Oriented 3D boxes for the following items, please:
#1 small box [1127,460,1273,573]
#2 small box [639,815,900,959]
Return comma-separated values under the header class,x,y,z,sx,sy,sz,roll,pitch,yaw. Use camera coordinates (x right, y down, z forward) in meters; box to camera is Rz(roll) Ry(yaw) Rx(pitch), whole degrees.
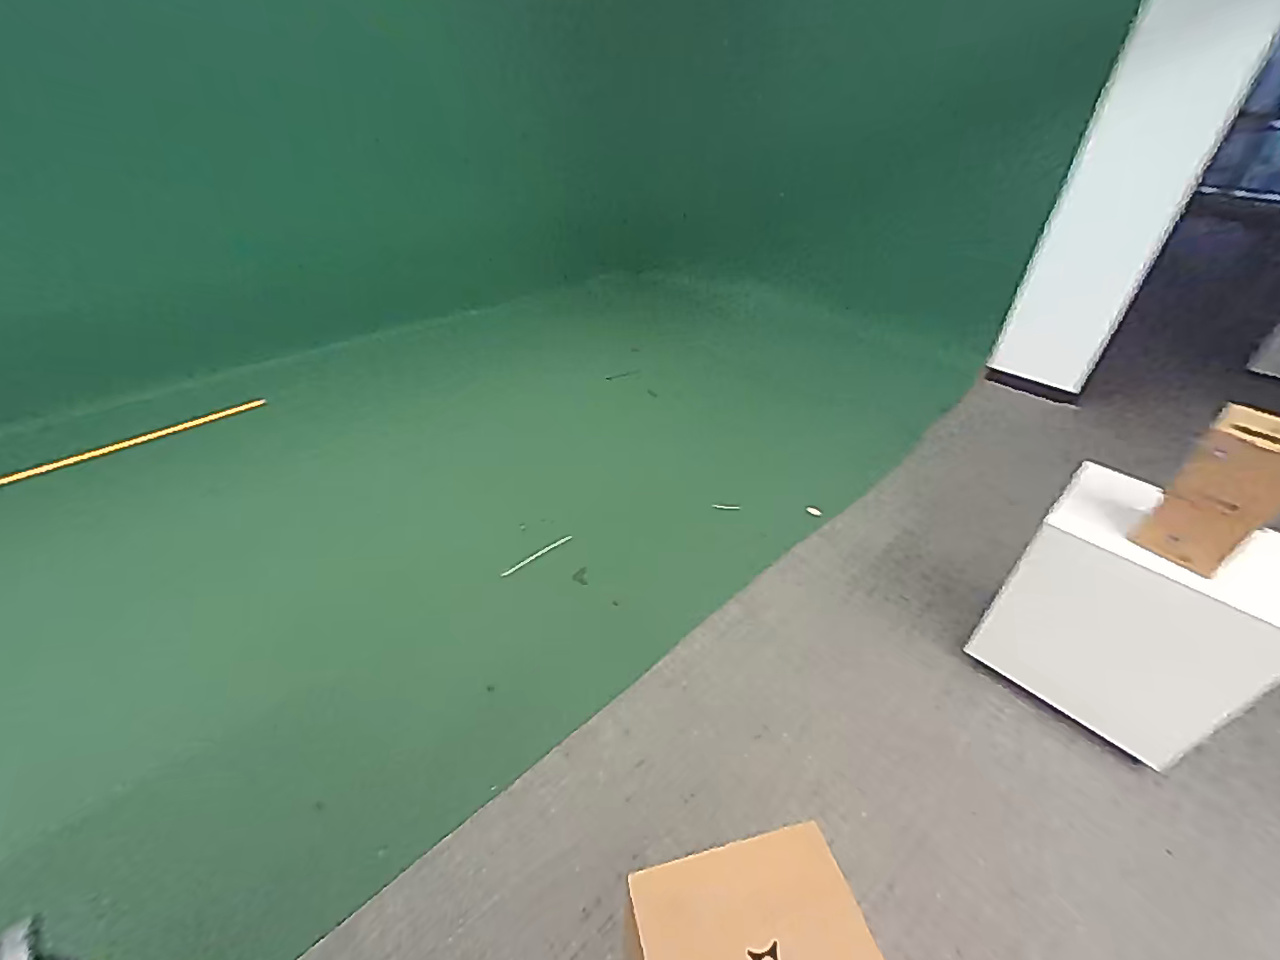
class,x,y,z,sx,sy,sz,roll,pitch,yaw
small box,1.310,0.084,1.275,0.179,0.176,0.168,-25,44,-29
small box,0.097,0.403,0.413,0.168,0.176,0.179,-7,35,-12
